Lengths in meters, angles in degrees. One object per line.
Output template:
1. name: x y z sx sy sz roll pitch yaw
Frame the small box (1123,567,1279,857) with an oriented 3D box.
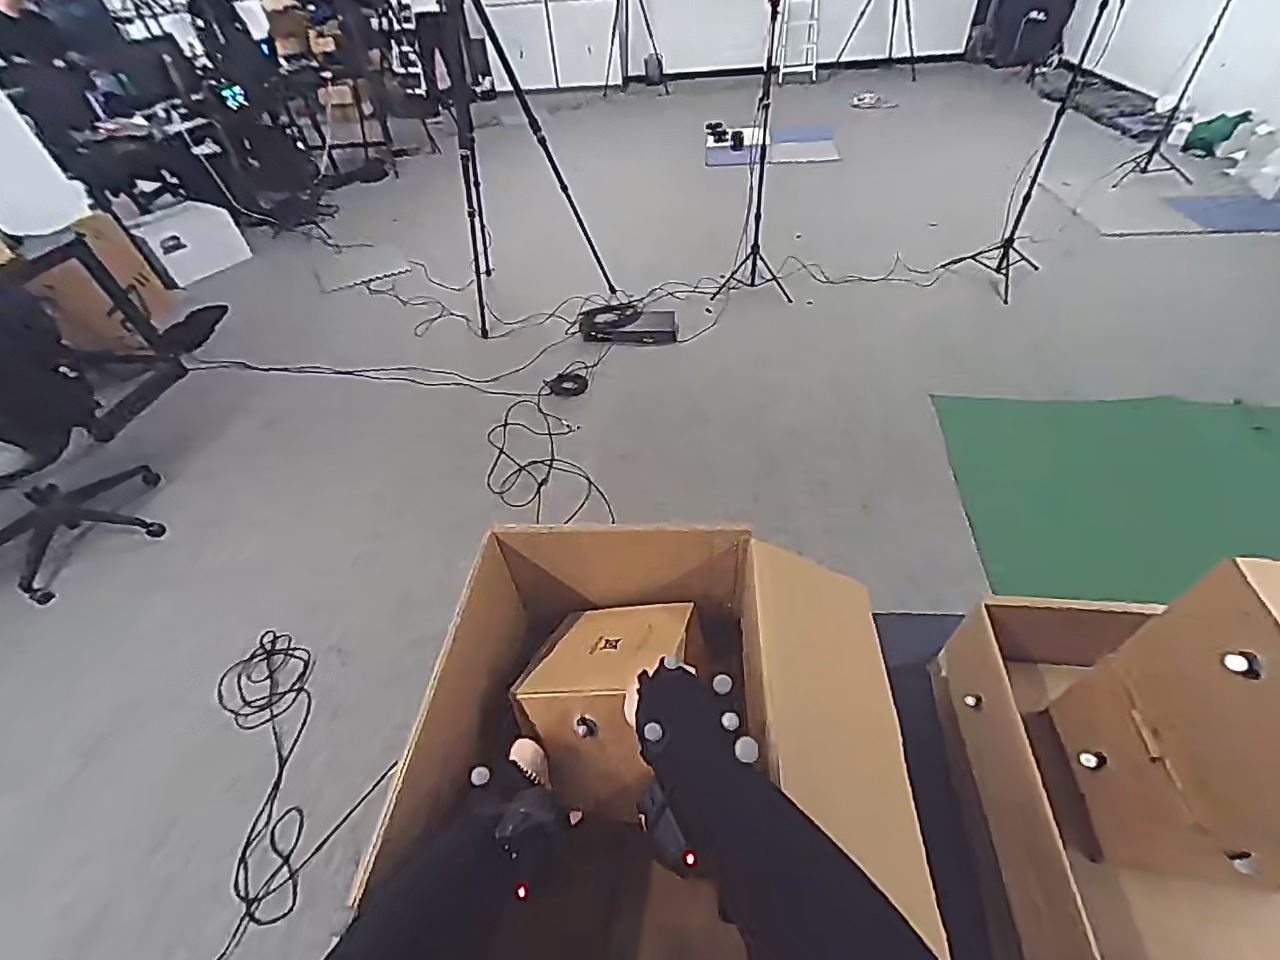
1. small box: 0.562 0.195 0.443 0.168 0.176 0.179 2 47 8
